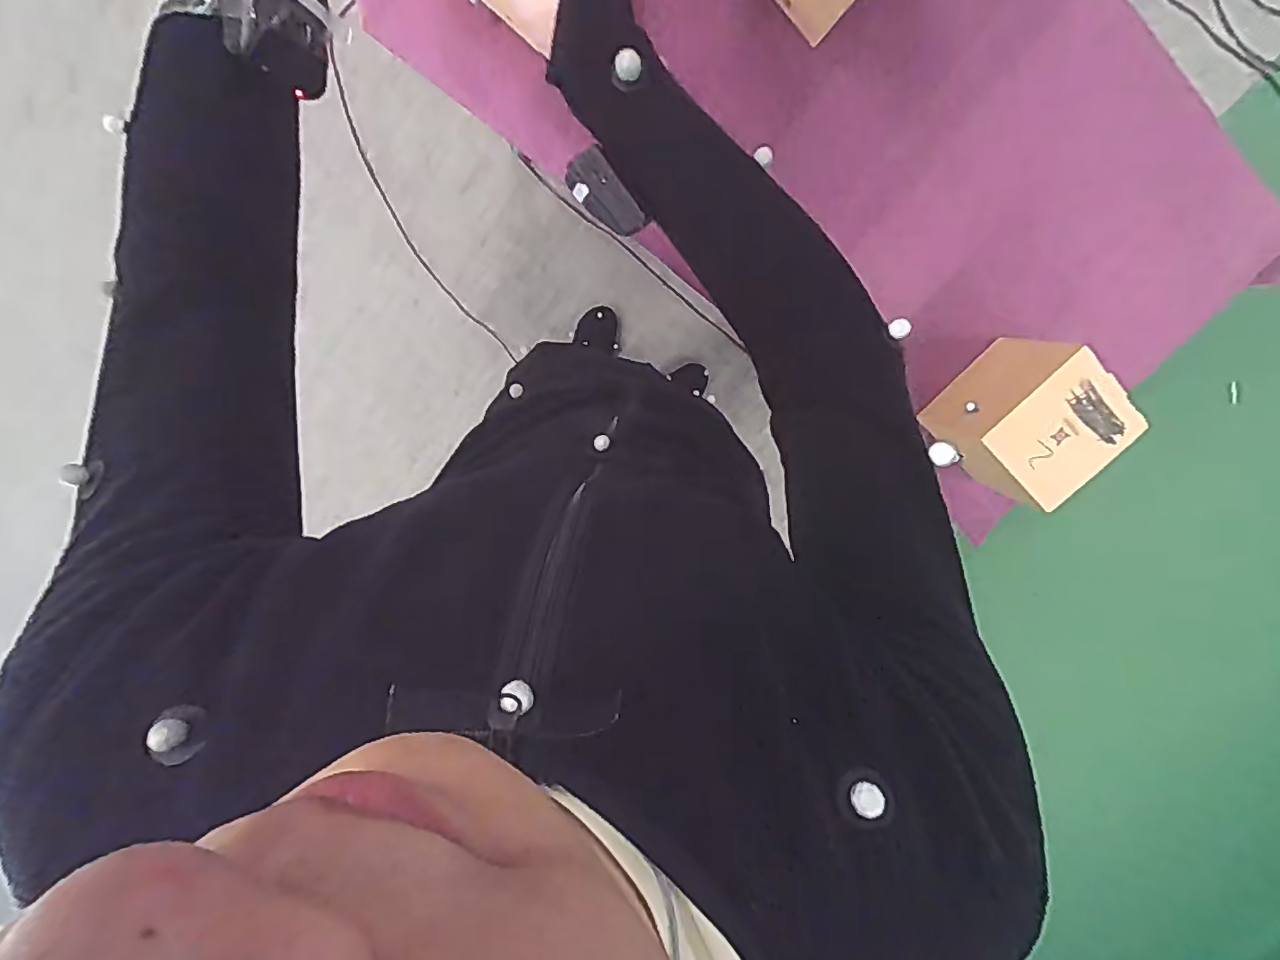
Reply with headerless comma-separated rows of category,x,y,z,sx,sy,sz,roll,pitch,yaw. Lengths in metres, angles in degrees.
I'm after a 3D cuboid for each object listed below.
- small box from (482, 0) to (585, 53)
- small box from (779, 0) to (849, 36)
small box,-0.127,-0.638,0.595,0.168,0.176,0.179,36,103,-13
small box,0.232,-0.666,0.603,0.168,0.176,0.179,41,103,-14
